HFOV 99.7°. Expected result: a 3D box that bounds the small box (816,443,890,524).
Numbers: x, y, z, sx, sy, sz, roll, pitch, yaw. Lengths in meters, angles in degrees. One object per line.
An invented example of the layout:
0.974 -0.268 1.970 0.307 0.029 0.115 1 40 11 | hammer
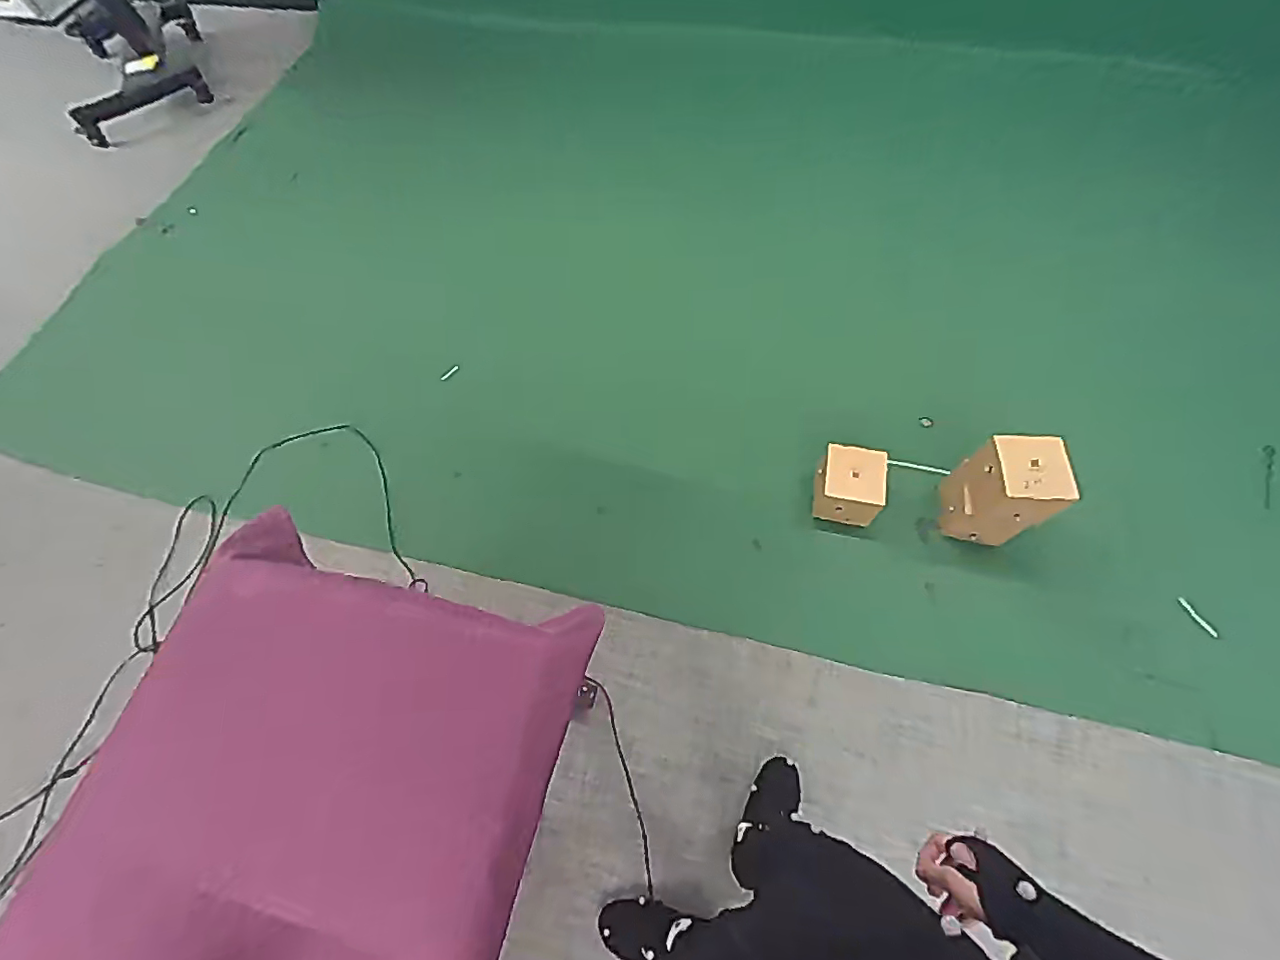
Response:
0.624 0.015 1.598 0.168 0.176 0.179 10 64 9 | small box

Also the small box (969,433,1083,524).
0.981 -0.003 1.393 0.168 0.176 0.179 2 64 6 | small box
